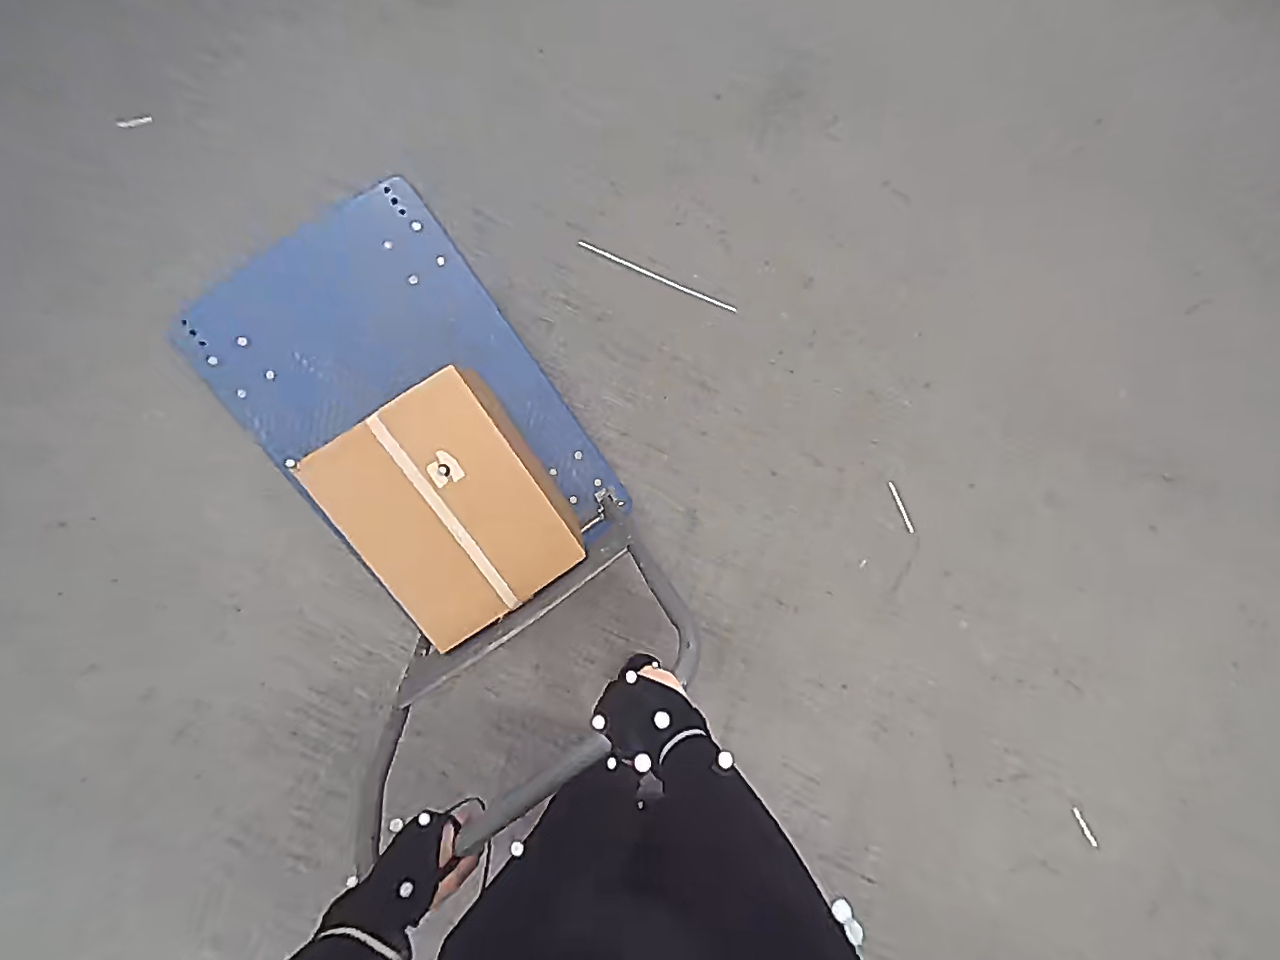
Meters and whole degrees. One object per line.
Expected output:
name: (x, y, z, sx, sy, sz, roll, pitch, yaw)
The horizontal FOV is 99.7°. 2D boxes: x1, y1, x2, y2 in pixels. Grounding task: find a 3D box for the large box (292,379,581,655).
large box: (-0.359, 0.052, 1.076, 0.320, 0.320, 0.408, -35, 102, -3)
